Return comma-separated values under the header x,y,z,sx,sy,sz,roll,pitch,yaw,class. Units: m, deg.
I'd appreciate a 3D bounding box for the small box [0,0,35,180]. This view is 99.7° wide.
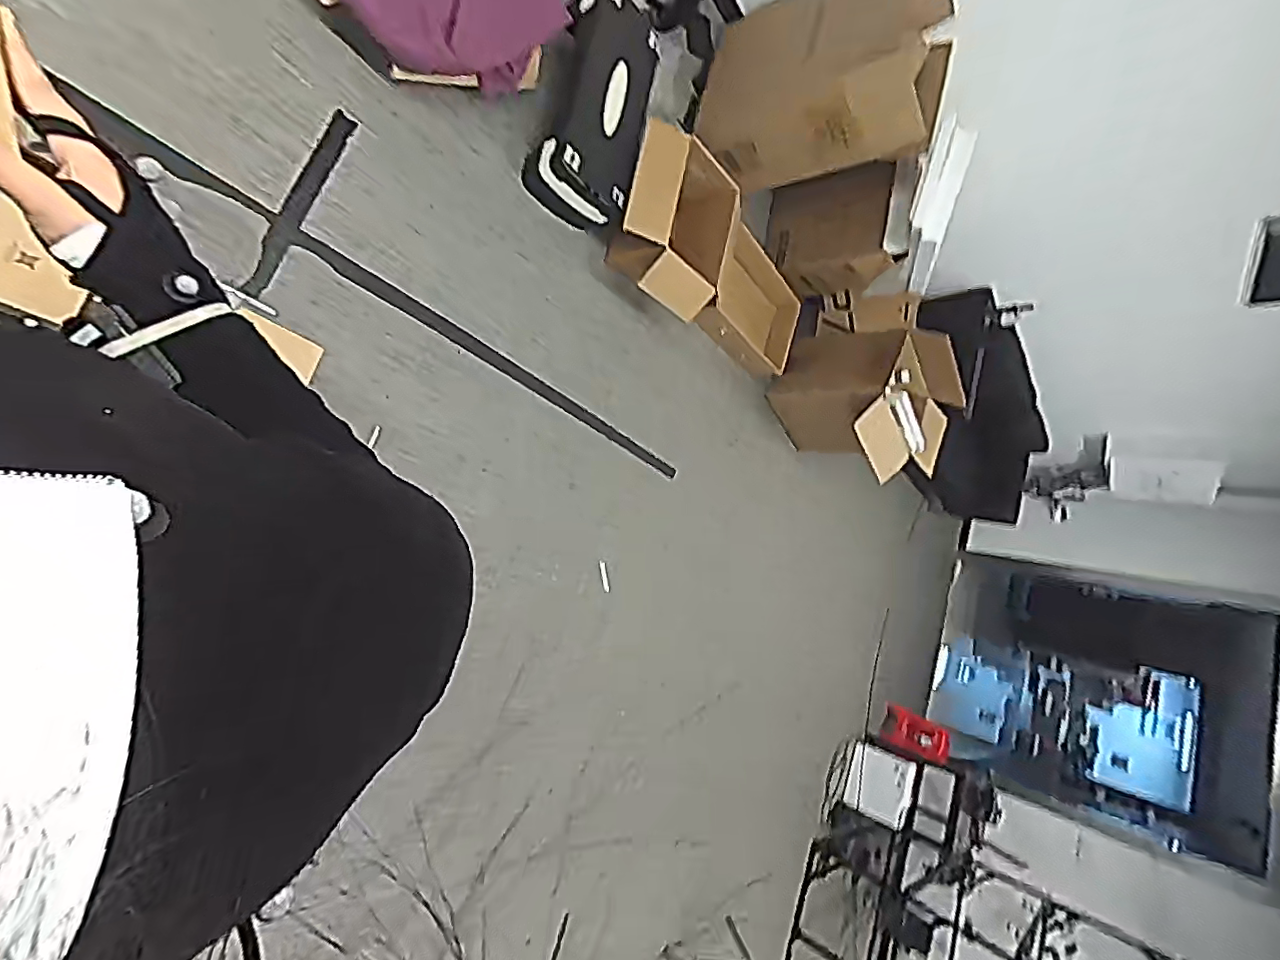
x,y,z,sx,sy,sz,roll,pitch,yaw,class
-0.473,-0.282,0.295,0.168,0.176,0.179,-12,117,-48,small box

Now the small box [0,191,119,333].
x,y,z,sx,sy,sz,roll,pitch,yaw,class
-1.063,-0.372,0.943,0.179,0.176,0.168,28,75,-44,small box

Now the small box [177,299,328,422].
x,y,z,sx,sy,sz,roll,pitch,yaw,class
-0.754,-0.221,1.049,0.179,0.176,0.168,30,74,-45,small box
